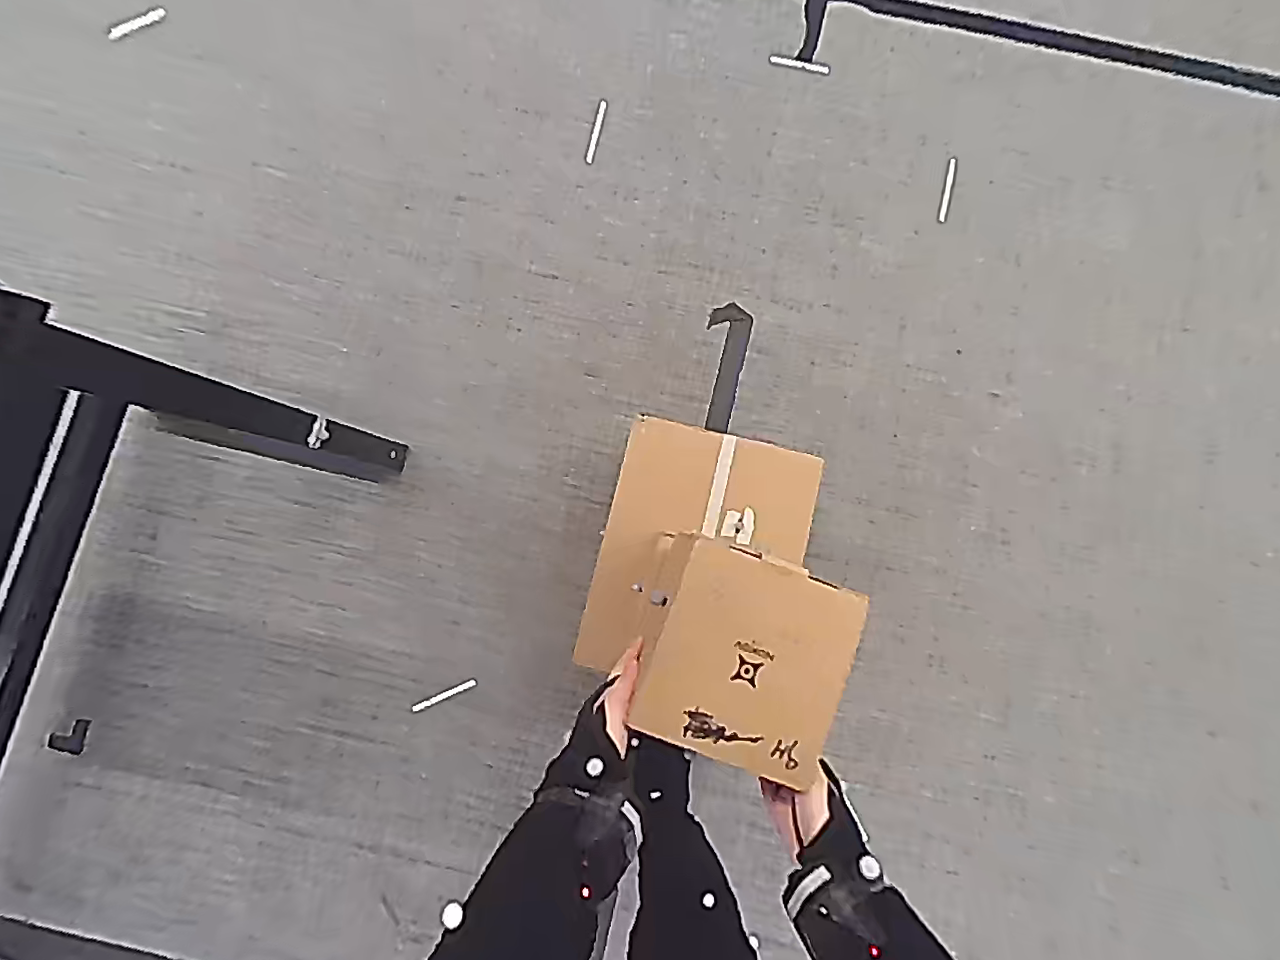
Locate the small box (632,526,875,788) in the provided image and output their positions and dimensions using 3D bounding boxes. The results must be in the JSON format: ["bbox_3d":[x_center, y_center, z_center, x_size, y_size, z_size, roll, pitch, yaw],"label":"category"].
[{"bbox_3d":[0.094,0.154,0.536,0.168,0.176,0.179,21,85,0],"label":"small box"}]

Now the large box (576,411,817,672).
[{"bbox_3d":[0.091,0.131,0.989,0.320,0.320,0.408,14,84,0],"label":"large box"}]

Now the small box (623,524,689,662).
[{"bbox_3d":[0.081,0.168,0.739,0.168,0.176,0.179,17,85,3],"label":"small box"}]
